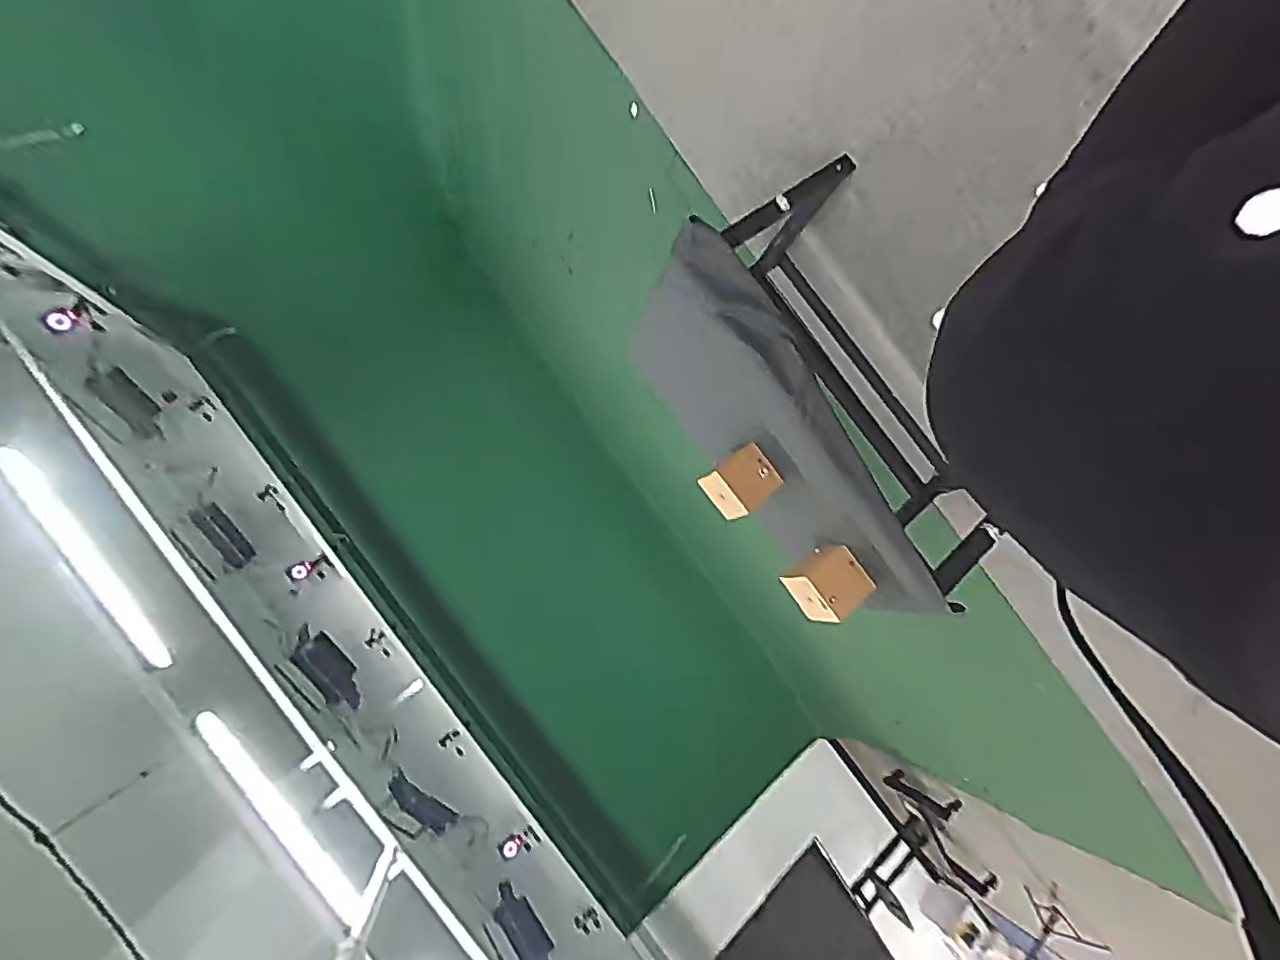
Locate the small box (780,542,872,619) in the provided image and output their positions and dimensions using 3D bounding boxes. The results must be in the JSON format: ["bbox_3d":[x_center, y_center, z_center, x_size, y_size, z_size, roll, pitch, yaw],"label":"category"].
[{"bbox_3d":[0.579,0.308,1.681,0.168,0.176,0.179,52,164,1],"label":"small box"}]

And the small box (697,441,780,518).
[{"bbox_3d":[0.320,-0.001,1.745,0.168,0.176,0.179,51,162,1],"label":"small box"}]
